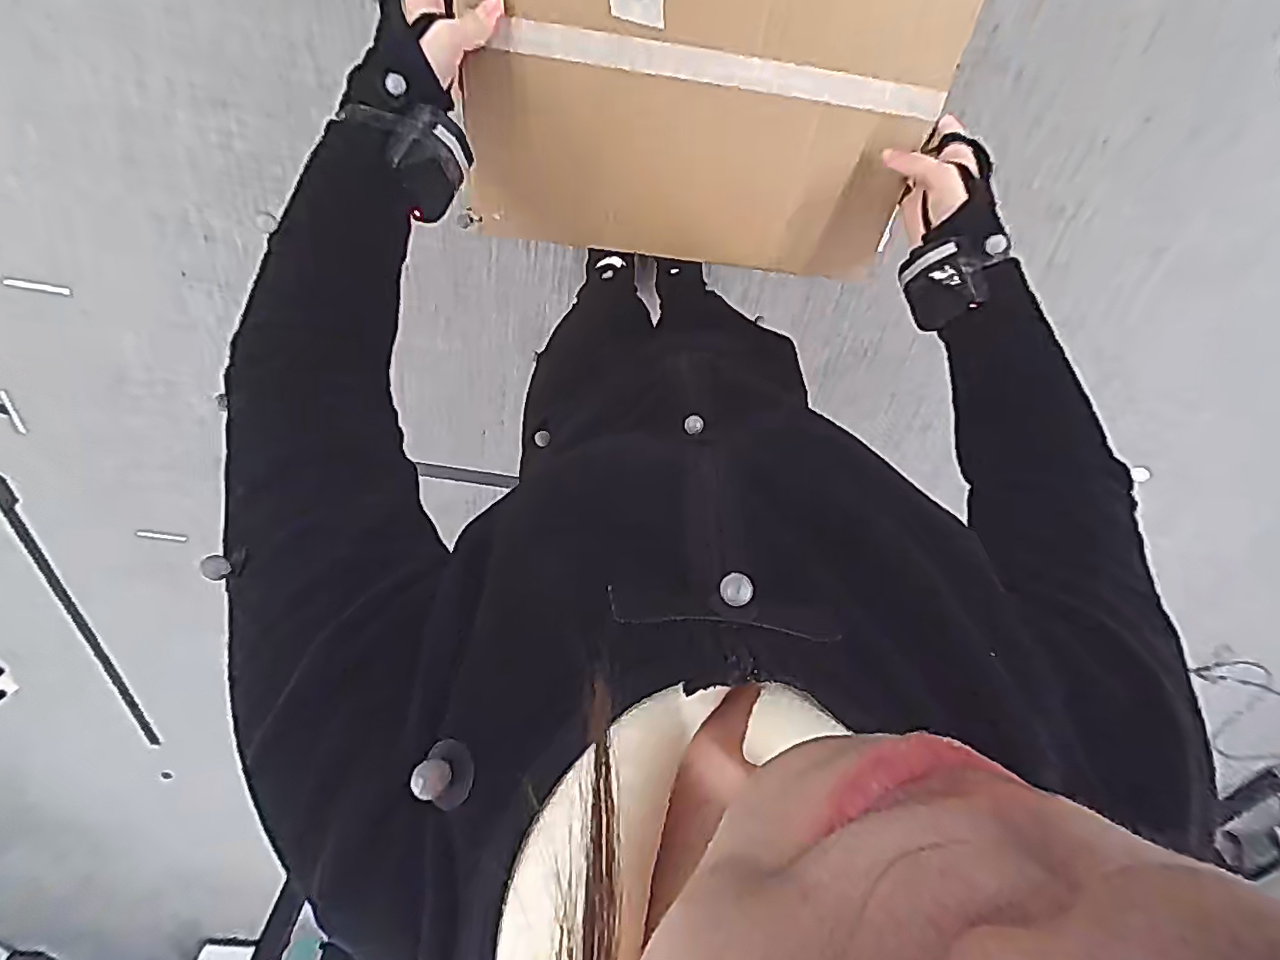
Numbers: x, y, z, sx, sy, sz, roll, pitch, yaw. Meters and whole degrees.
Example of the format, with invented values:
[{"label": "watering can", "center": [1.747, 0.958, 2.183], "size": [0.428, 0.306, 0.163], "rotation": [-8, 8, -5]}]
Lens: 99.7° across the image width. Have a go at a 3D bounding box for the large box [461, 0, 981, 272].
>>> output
[{"label": "large box", "center": [0.057, -0.443, 0.547], "size": [0.408, 0.320, 0.320], "rotation": [5, 132, -6]}]
